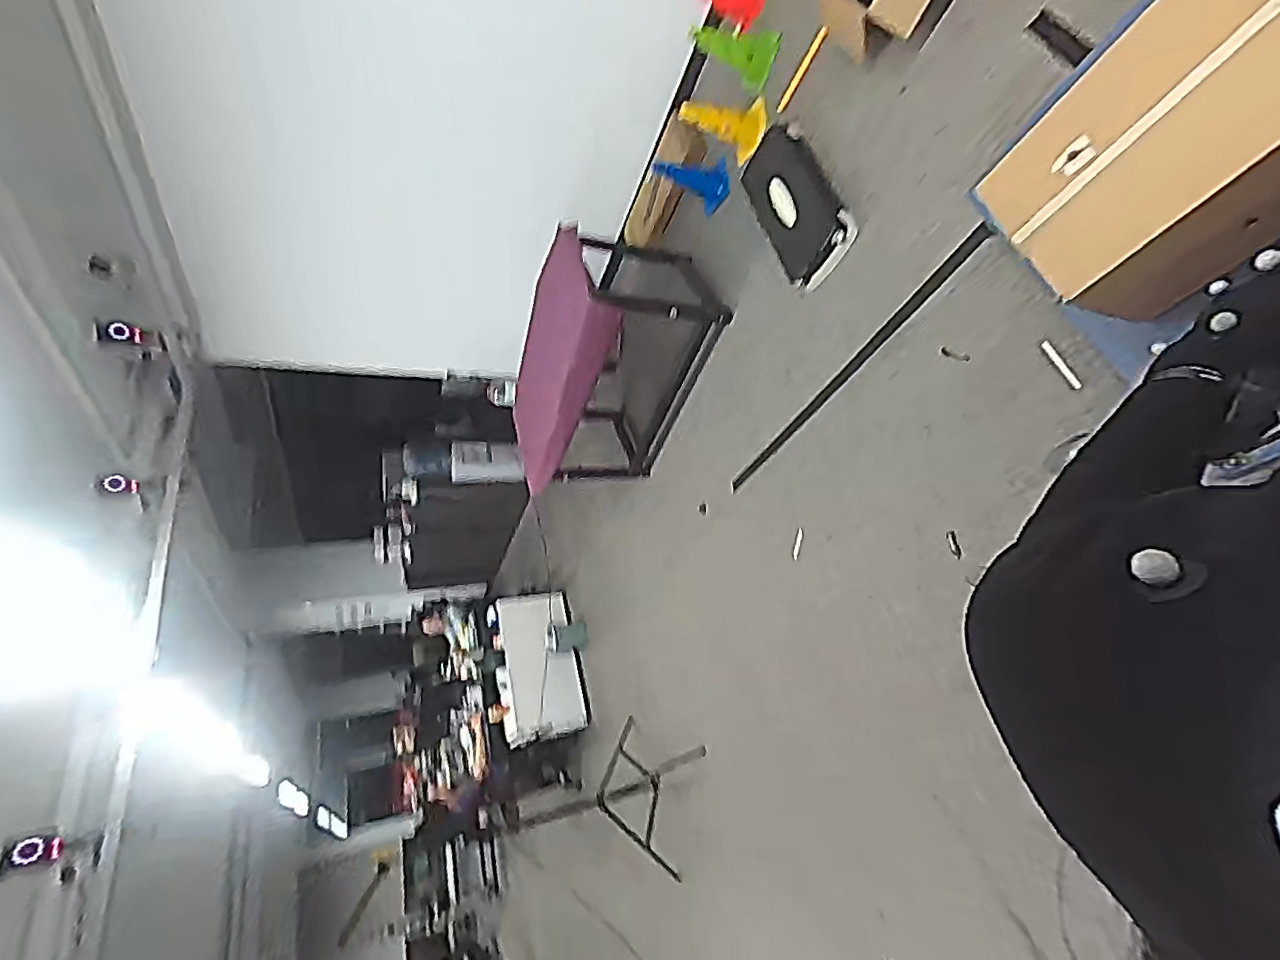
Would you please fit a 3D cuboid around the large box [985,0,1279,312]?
[{"bbox_3d":[0.914,-0.548,0.901,0.408,0.320,0.320,-54,45,51],"label":"large box"}]
